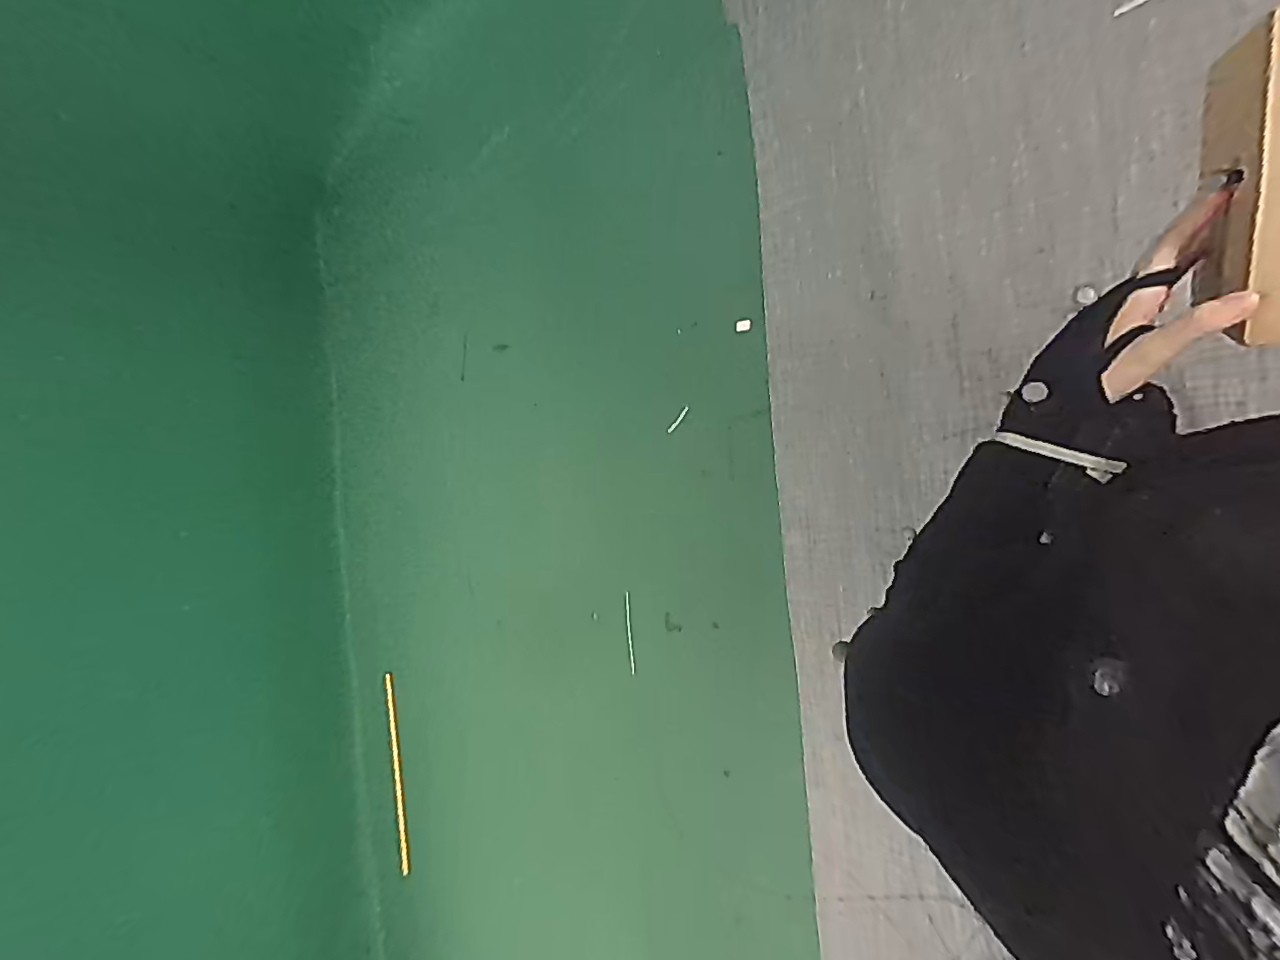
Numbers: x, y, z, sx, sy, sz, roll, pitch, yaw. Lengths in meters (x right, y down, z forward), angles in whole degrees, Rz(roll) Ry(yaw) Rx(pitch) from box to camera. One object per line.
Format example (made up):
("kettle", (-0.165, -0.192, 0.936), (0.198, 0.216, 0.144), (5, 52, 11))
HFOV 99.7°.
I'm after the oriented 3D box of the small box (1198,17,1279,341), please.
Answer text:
("small box", (0.458, -0.194, 0.314), (0.168, 0.176, 0.179), (-1, 112, 38))
